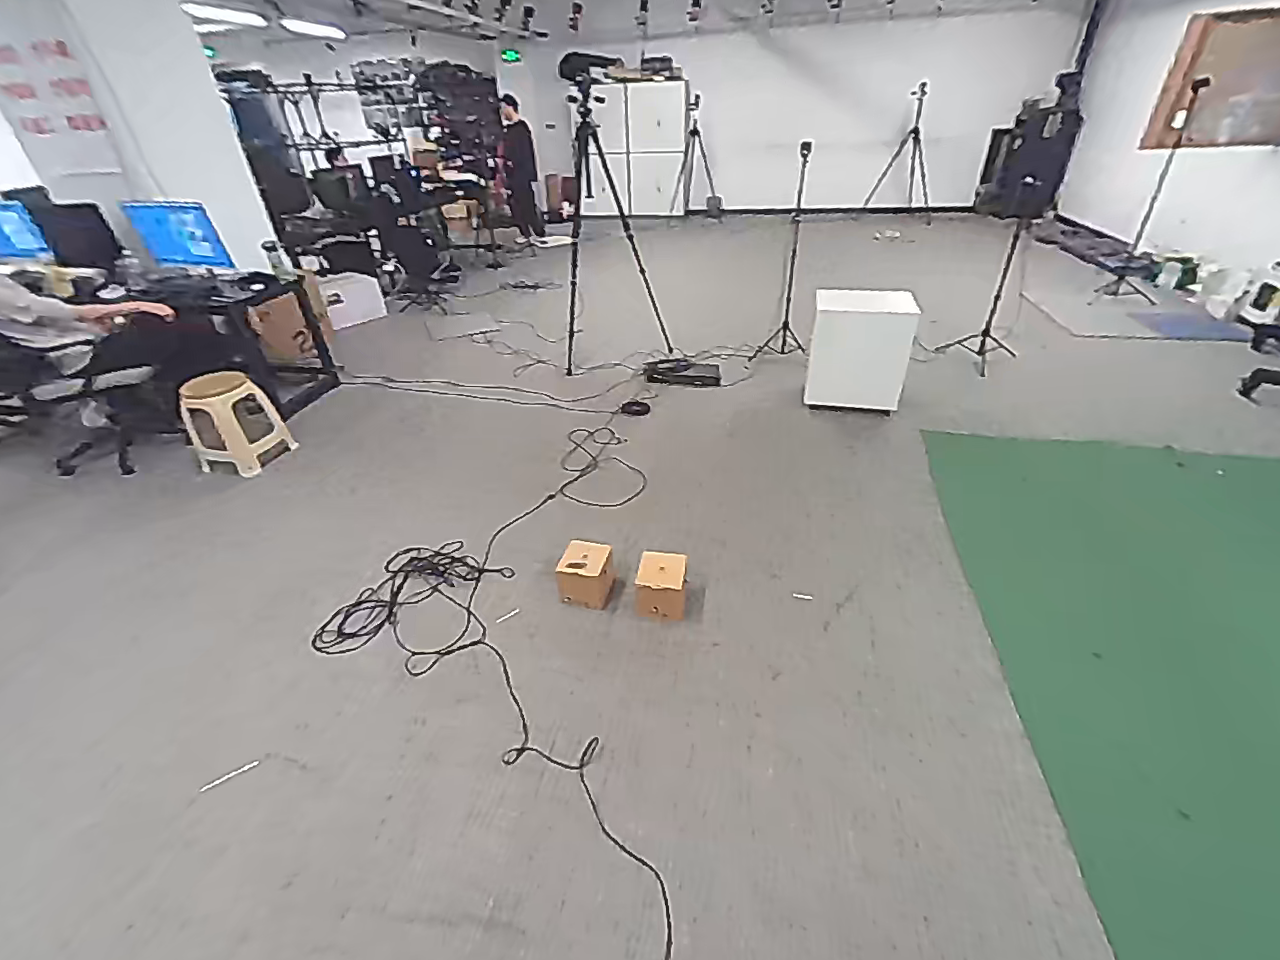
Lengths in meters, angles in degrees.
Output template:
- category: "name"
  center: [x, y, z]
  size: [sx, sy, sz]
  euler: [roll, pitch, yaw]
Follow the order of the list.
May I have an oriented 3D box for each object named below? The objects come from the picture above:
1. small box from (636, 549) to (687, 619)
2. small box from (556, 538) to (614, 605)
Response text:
- category: "small box"
  center: [0.082, 0.381, 1.981]
  size: [0.168, 0.176, 0.179]
  euler: [4, 36, 10]
- category: "small box"
  center: [-0.200, 0.349, 2.045]
  size: [0.168, 0.176, 0.179]
  euler: [7, 35, 14]
